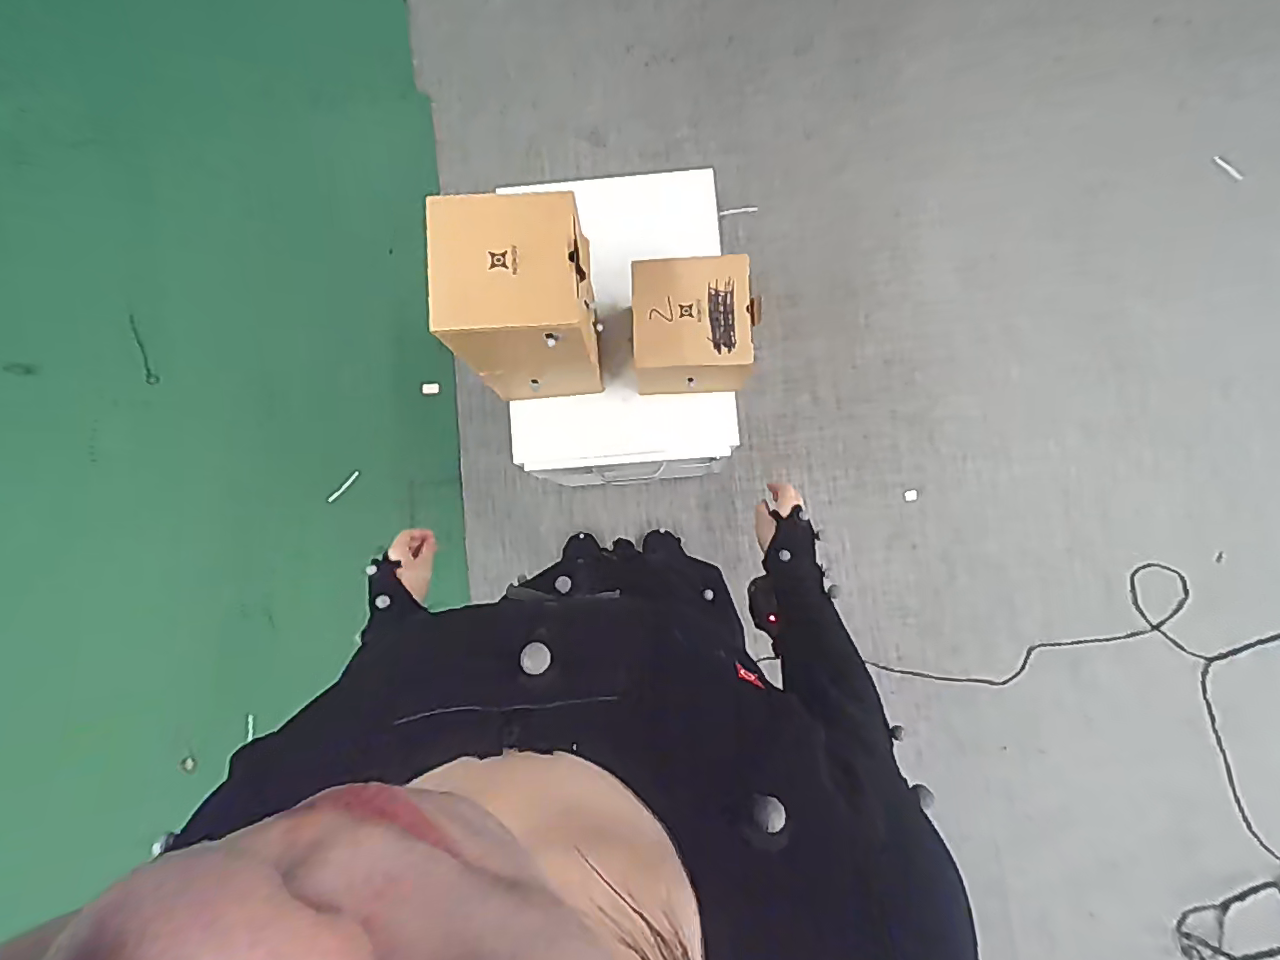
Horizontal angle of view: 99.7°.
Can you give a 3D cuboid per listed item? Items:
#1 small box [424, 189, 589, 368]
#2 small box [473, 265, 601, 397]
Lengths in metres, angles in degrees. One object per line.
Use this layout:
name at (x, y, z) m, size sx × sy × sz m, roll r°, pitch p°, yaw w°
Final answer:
small box at (-0.163, -0.250, 0.708) m, size 0.179 × 0.176 × 0.168 m, roll -4°, pitch 85°, yaw -2°
small box at (-0.162, -0.236, 0.871) m, size 0.179 × 0.176 × 0.168 m, roll -6°, pitch 86°, yaw 0°
